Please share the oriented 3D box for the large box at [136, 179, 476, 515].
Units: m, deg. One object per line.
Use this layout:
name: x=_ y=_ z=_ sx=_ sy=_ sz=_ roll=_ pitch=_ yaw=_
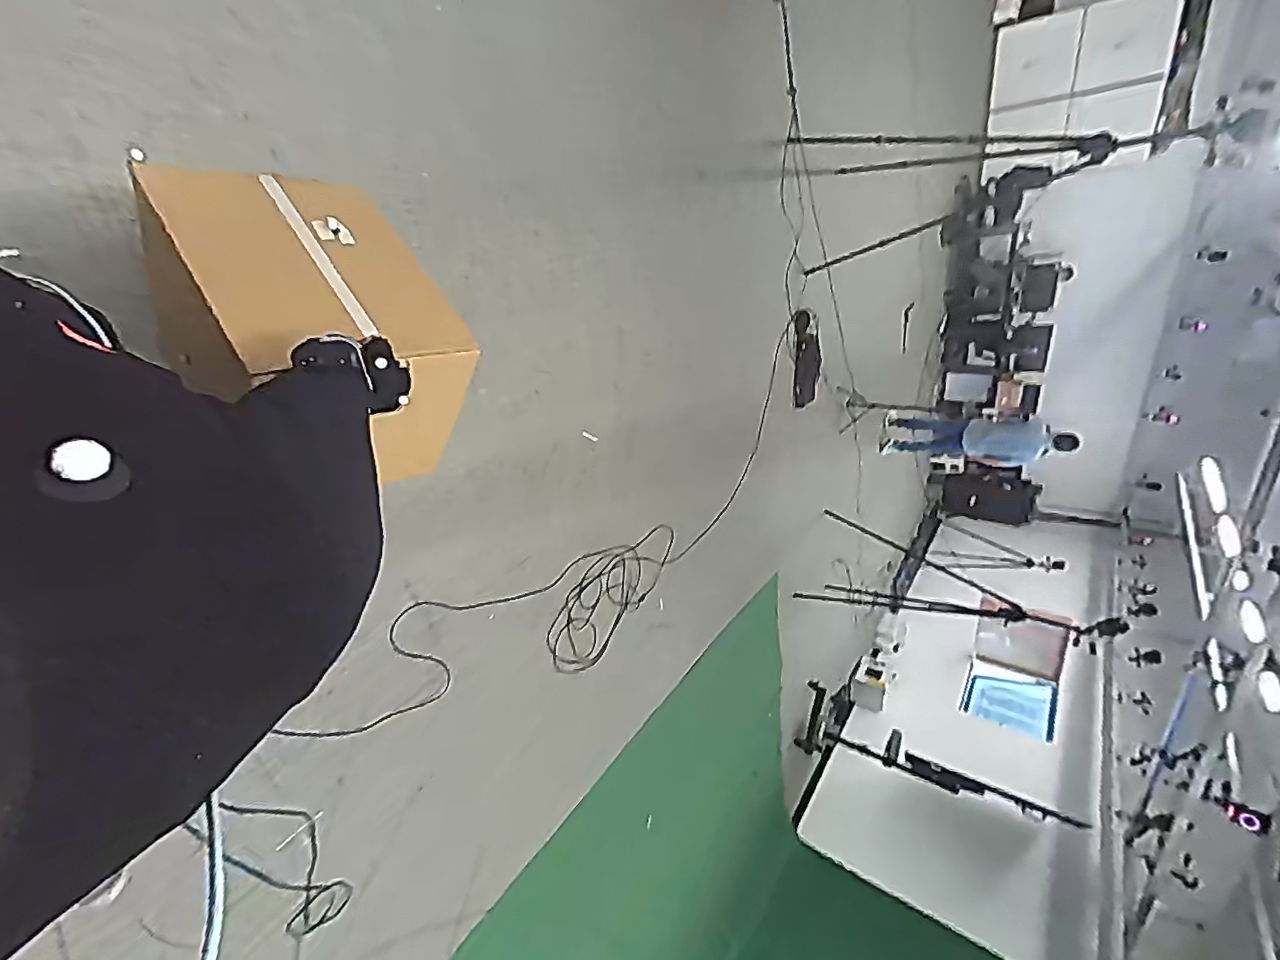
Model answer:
large box: x=-0.542 y=-0.217 z=0.896 sx=0.320 sy=0.408 sz=0.320 roll=-22 pitch=158 yaw=-46
